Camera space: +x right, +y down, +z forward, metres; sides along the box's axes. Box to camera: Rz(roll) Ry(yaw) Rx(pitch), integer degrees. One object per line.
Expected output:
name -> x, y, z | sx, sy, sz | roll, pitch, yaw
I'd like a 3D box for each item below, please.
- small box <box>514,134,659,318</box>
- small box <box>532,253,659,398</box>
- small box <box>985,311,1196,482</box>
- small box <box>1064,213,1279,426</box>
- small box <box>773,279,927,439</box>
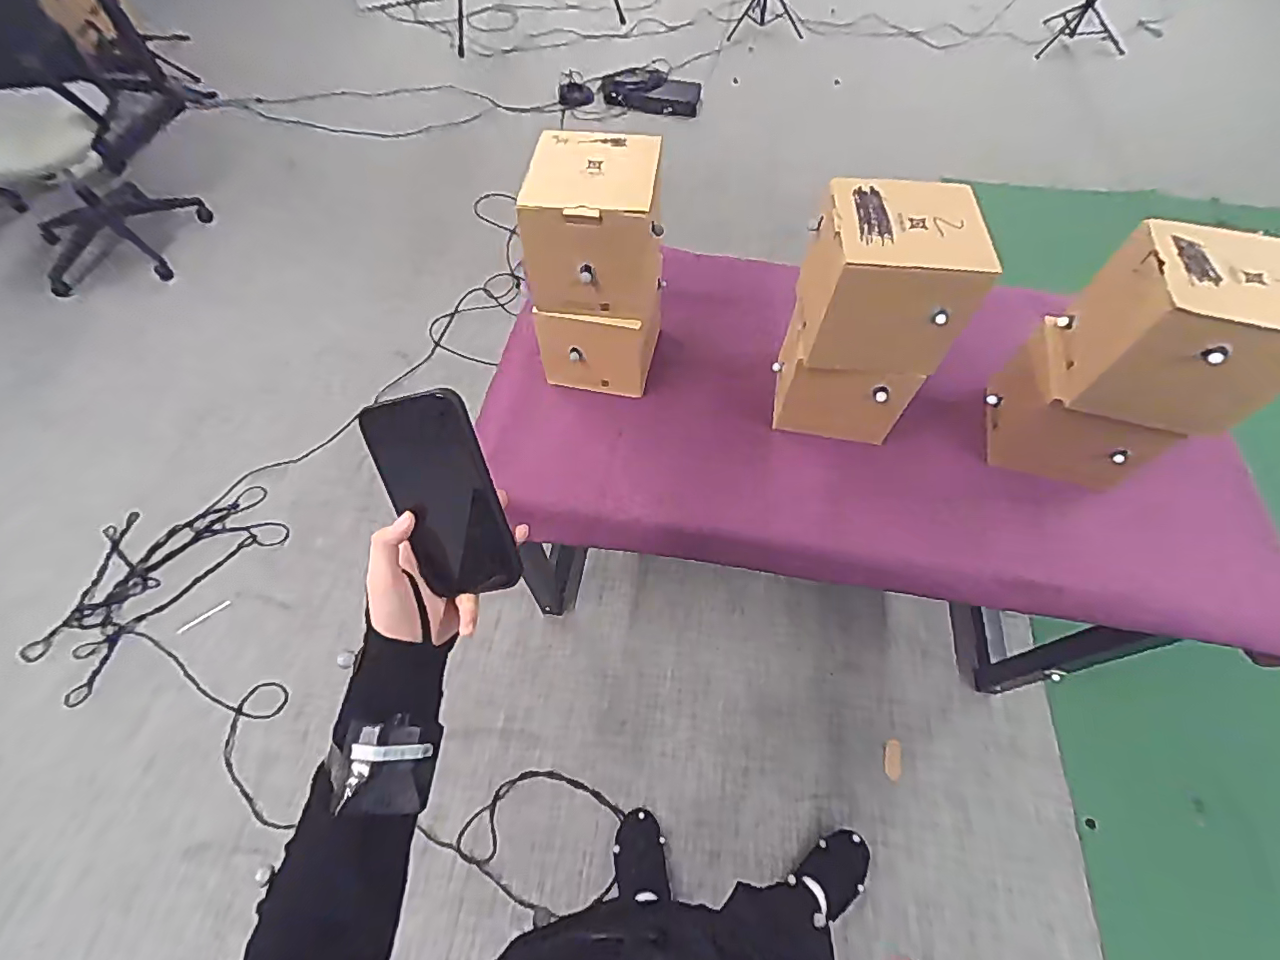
small box -> -0.063, -0.351, 0.760 | 0.168, 0.176, 0.179 | 5, 60, 3
small box -> -0.062, -0.259, 0.896 | 0.168, 0.176, 0.179 | 10, 59, 7
small box -> 0.649, -0.117, 0.801 | 0.179, 0.176, 0.168 | 14, 60, 10
small box -> 0.652, -0.187, 0.652 | 0.179, 0.176, 0.168 | 14, 60, 9
small box -> 0.317, -0.182, 0.843 | 0.179, 0.176, 0.168 | 9, 59, 6
